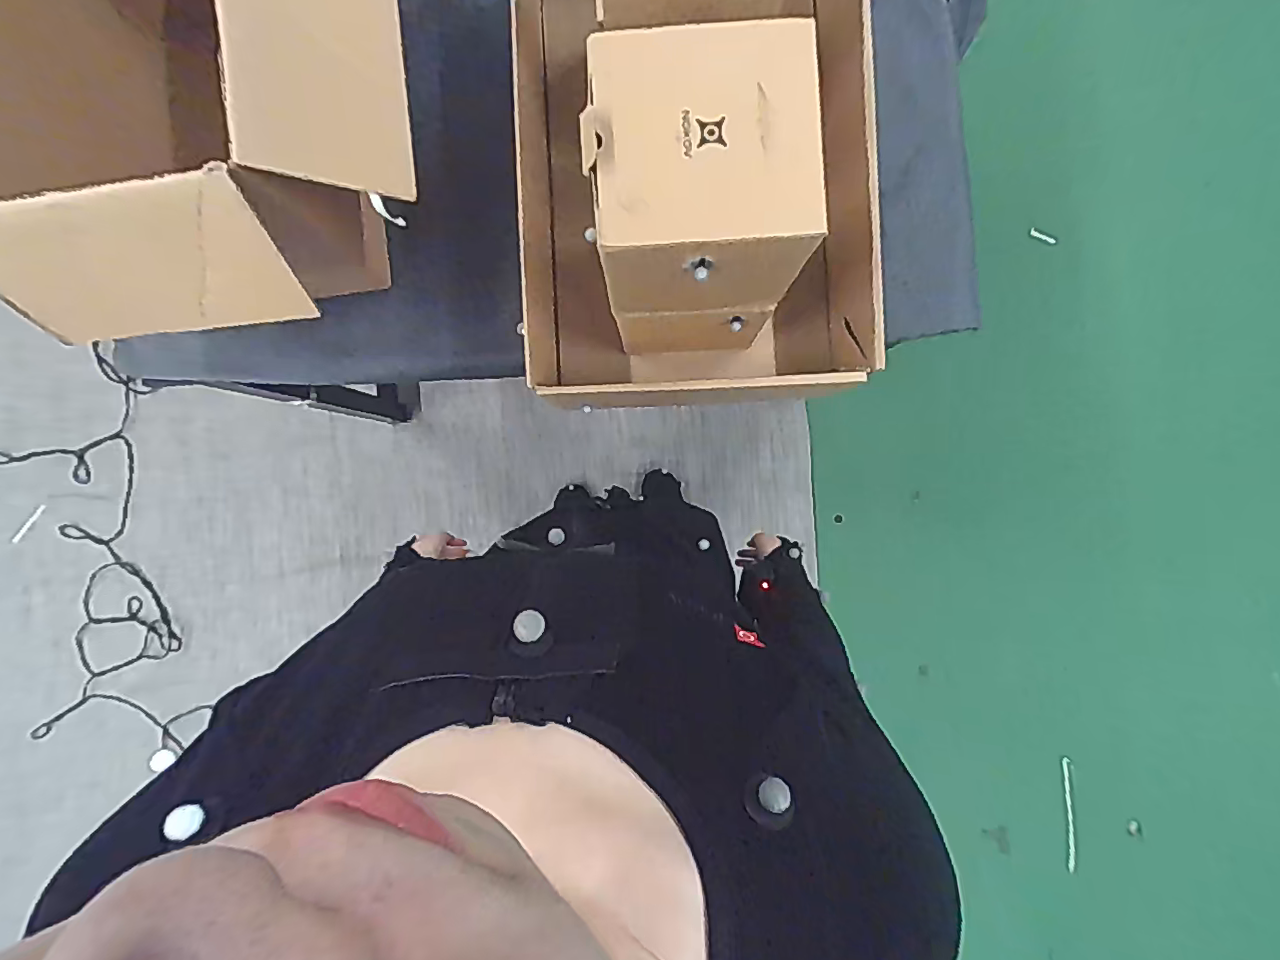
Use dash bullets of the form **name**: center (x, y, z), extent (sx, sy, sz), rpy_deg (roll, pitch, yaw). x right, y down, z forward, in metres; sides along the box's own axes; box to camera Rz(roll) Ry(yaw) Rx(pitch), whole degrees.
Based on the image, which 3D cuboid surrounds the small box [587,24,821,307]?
- **small box**: center (0.050, -0.267, 0.498), extent (0.179, 0.176, 0.168), rpy_deg (-3, 91, -1)
